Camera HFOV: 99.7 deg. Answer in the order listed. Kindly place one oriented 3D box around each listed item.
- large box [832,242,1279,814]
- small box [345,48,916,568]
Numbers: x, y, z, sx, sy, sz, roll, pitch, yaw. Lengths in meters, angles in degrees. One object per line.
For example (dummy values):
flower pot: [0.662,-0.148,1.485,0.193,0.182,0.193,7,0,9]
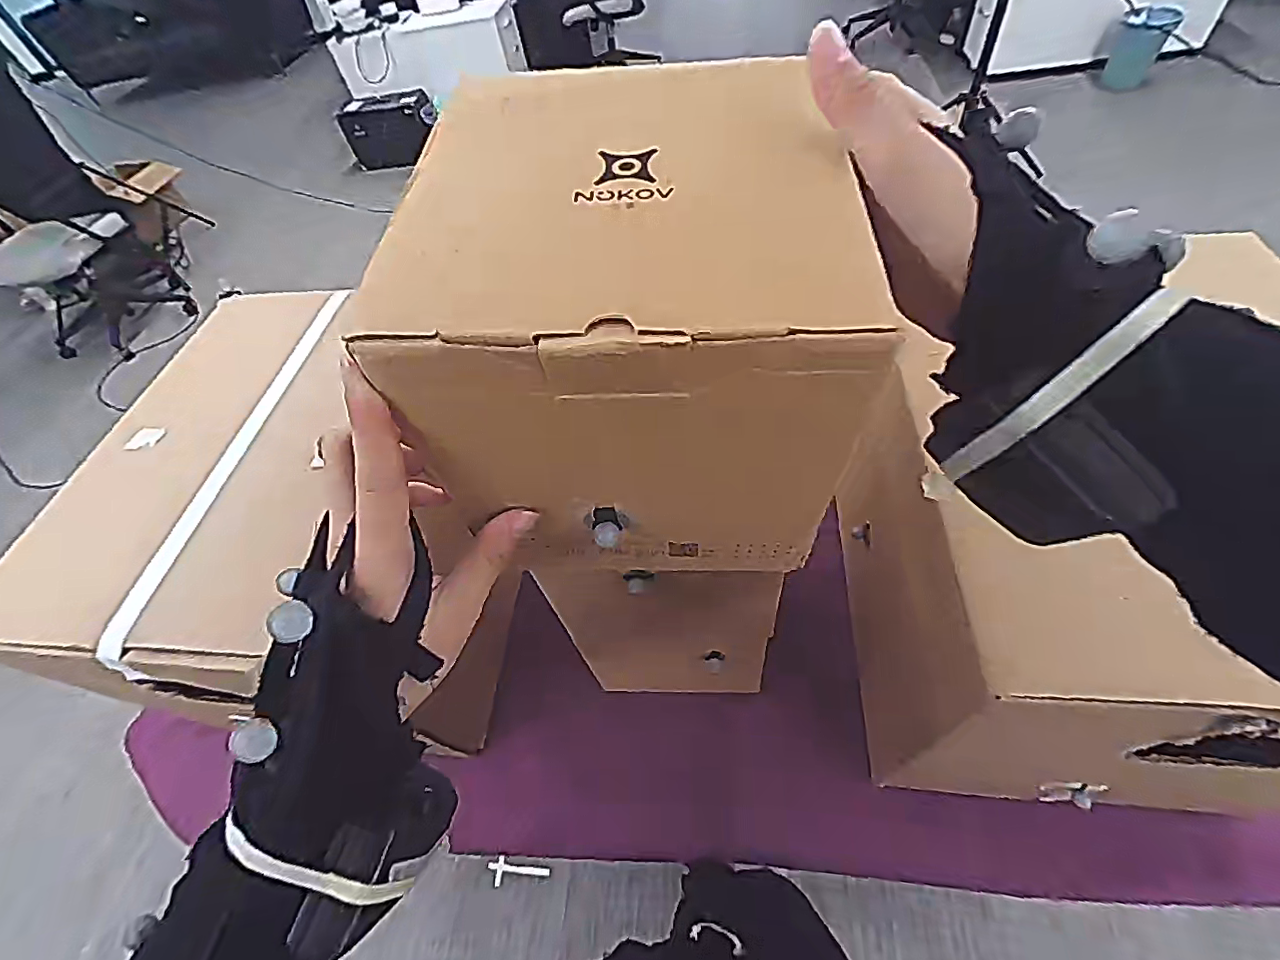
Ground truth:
large box: [0.372,0.046,0.489,0.320,0.320,0.408,-1,52,9]
small box: [0.002,-0.072,0.263,0.168,0.176,0.179,0,58,4]
